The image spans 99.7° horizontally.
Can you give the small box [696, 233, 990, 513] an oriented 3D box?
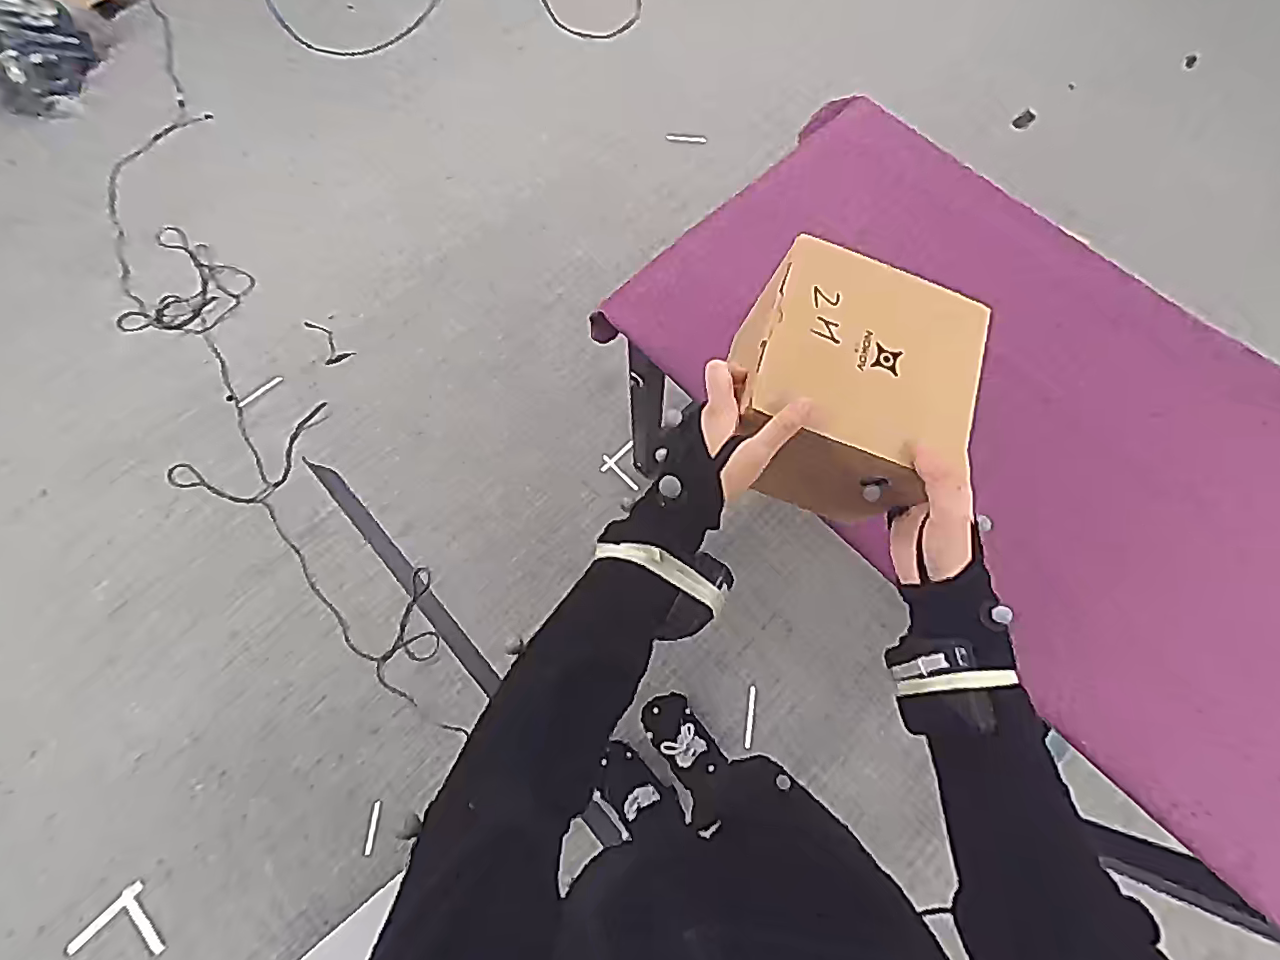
[{"bbox_3d":[0.170,-0.078,0.493,0.179,0.176,0.168,20,74,-2],"label":"small box"}]
